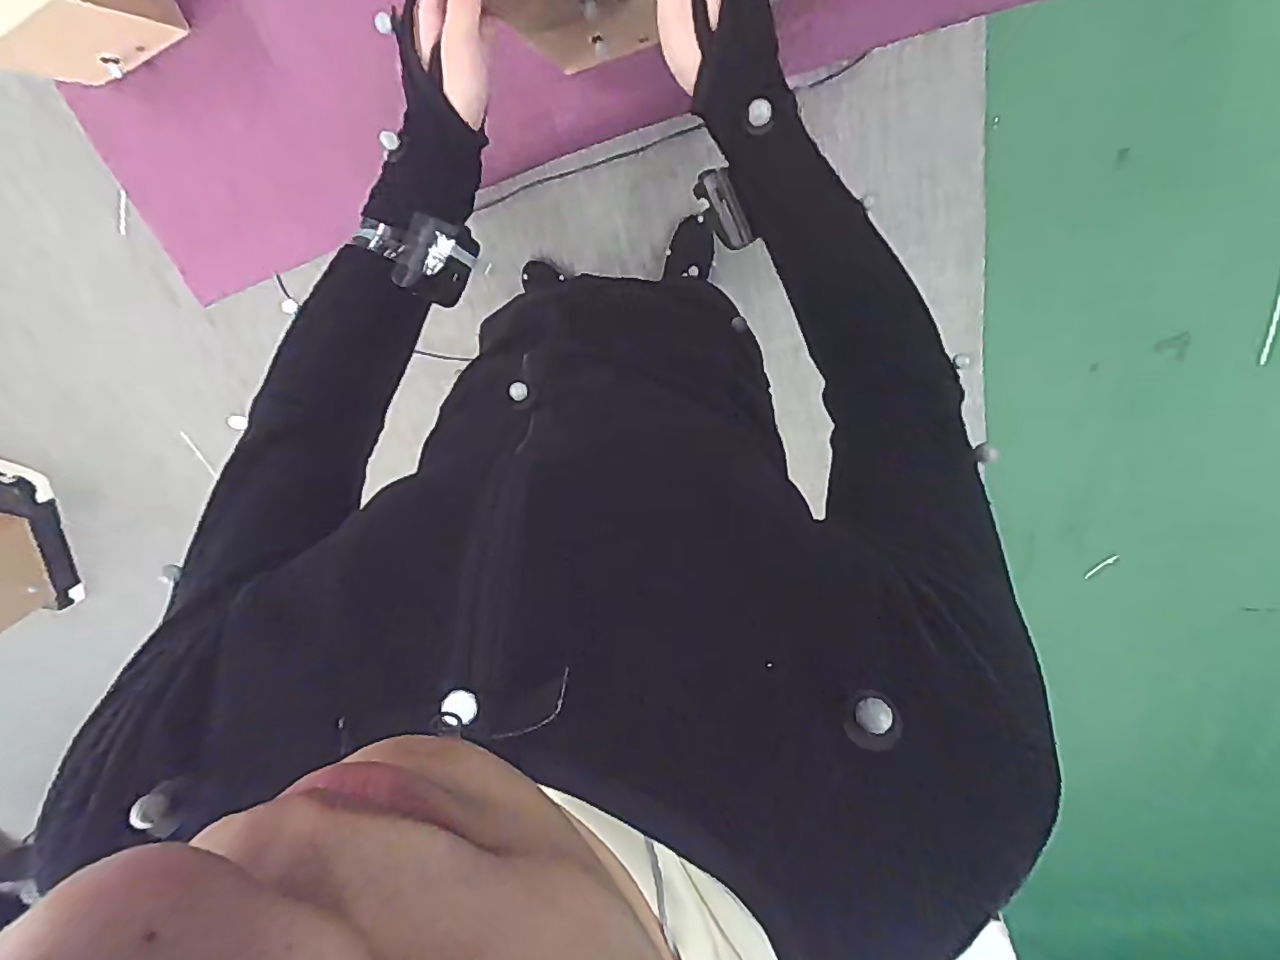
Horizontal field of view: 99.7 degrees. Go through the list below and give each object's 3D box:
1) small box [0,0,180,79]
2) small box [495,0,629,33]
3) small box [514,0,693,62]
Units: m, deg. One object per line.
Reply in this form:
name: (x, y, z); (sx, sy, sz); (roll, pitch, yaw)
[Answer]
small box: (-0.678, -0.576, 0.587); (0.168, 0.176, 0.179); (-14, 117, 15)
small box: (-0.064, -0.466, 0.383); (0.168, 0.176, 0.179); (-9, 116, 13)
small box: (-0.045, -0.541, 0.528); (0.168, 0.176, 0.179); (-10, 116, 13)
